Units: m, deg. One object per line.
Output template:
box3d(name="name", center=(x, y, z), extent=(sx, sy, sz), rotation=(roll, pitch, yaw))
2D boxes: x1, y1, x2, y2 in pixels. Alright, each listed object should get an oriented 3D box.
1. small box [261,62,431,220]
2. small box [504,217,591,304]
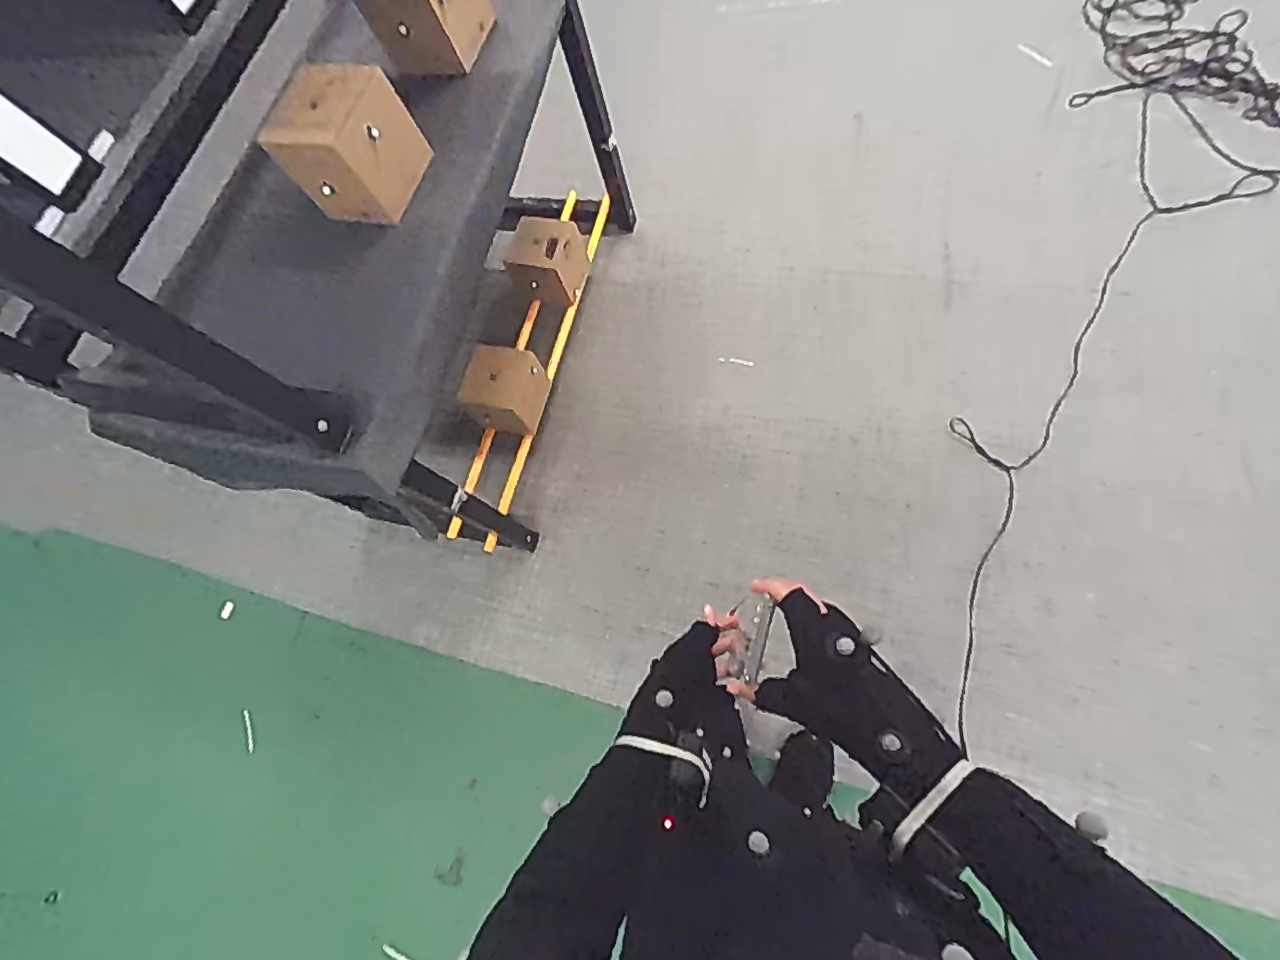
box3d(name="small box", center=(-0.504, -0.591, 0.955), extent=(0.168, 0.176, 0.179), rotation=(13, 74, 16))
box3d(name="small box", center=(-0.264, -0.643, 1.597), extent=(0.179, 0.176, 0.168), rotation=(14, 74, 16))
